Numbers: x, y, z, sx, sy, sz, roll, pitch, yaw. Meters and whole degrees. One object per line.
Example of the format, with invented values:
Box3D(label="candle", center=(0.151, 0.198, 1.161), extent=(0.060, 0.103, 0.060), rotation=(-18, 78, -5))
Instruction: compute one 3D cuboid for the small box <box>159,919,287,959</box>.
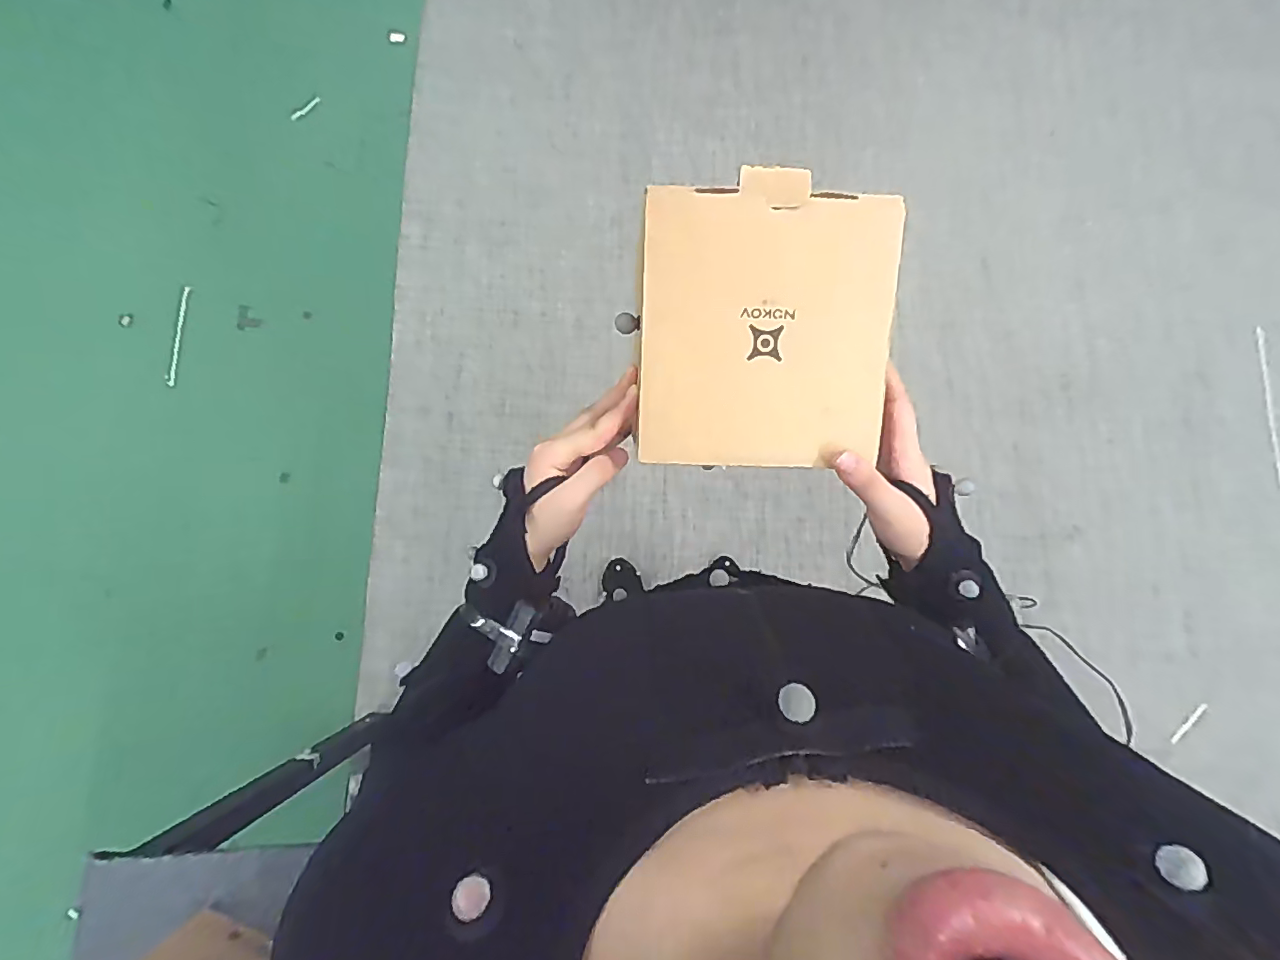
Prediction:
Box3D(label="small box", center=(-0.535, 0.674, 0.627), extent=(0.168, 0.176, 0.179), rotation=(21, 86, 5))

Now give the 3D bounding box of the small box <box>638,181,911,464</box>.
Box3D(label="small box", center=(0.084, -0.113, 0.429), extent=(0.168, 0.176, 0.179), rotation=(1, 100, -2))
